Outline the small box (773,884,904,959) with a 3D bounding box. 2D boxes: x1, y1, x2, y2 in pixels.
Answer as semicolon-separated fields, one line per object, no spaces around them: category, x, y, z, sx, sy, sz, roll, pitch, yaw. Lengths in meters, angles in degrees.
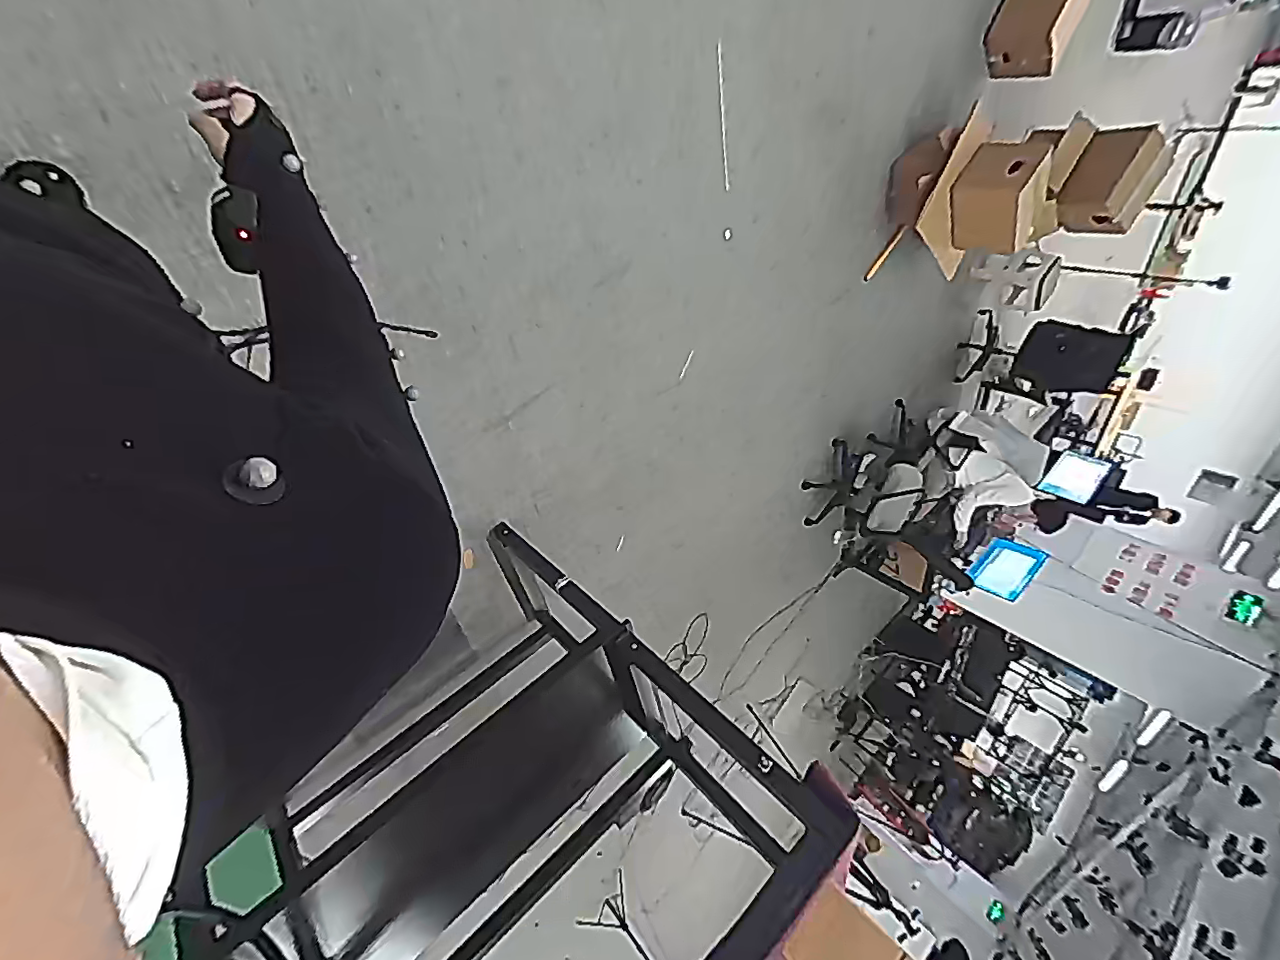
small box;0.380;0.949;1.060;0.179;0.176;0.168;-32;133;-26
